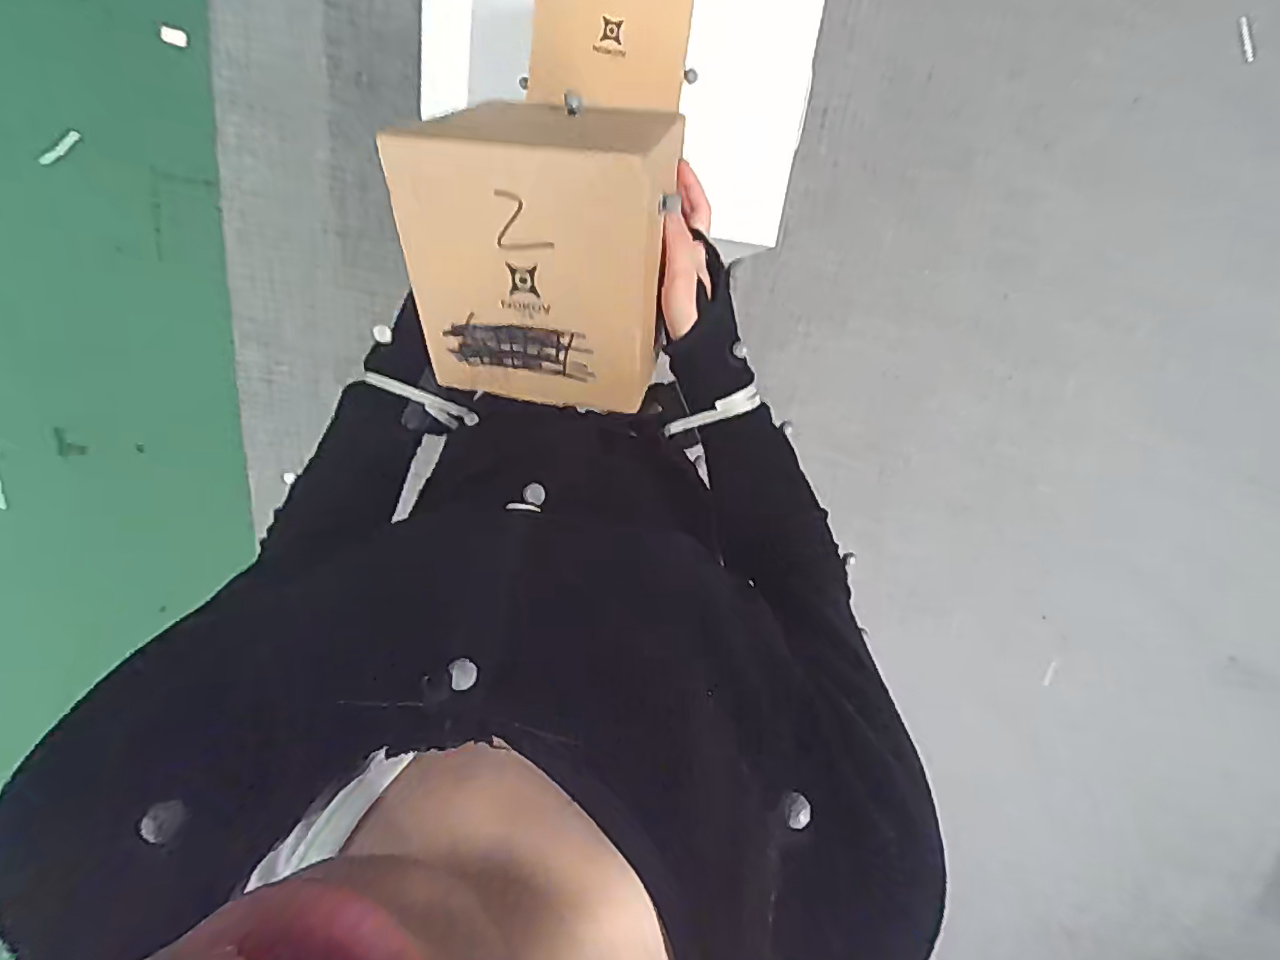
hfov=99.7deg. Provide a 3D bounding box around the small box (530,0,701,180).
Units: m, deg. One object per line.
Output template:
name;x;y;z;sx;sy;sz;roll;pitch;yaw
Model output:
small box;-0.030;-0.479;0.635;0.168;0.176;0.179;7;107;-5
